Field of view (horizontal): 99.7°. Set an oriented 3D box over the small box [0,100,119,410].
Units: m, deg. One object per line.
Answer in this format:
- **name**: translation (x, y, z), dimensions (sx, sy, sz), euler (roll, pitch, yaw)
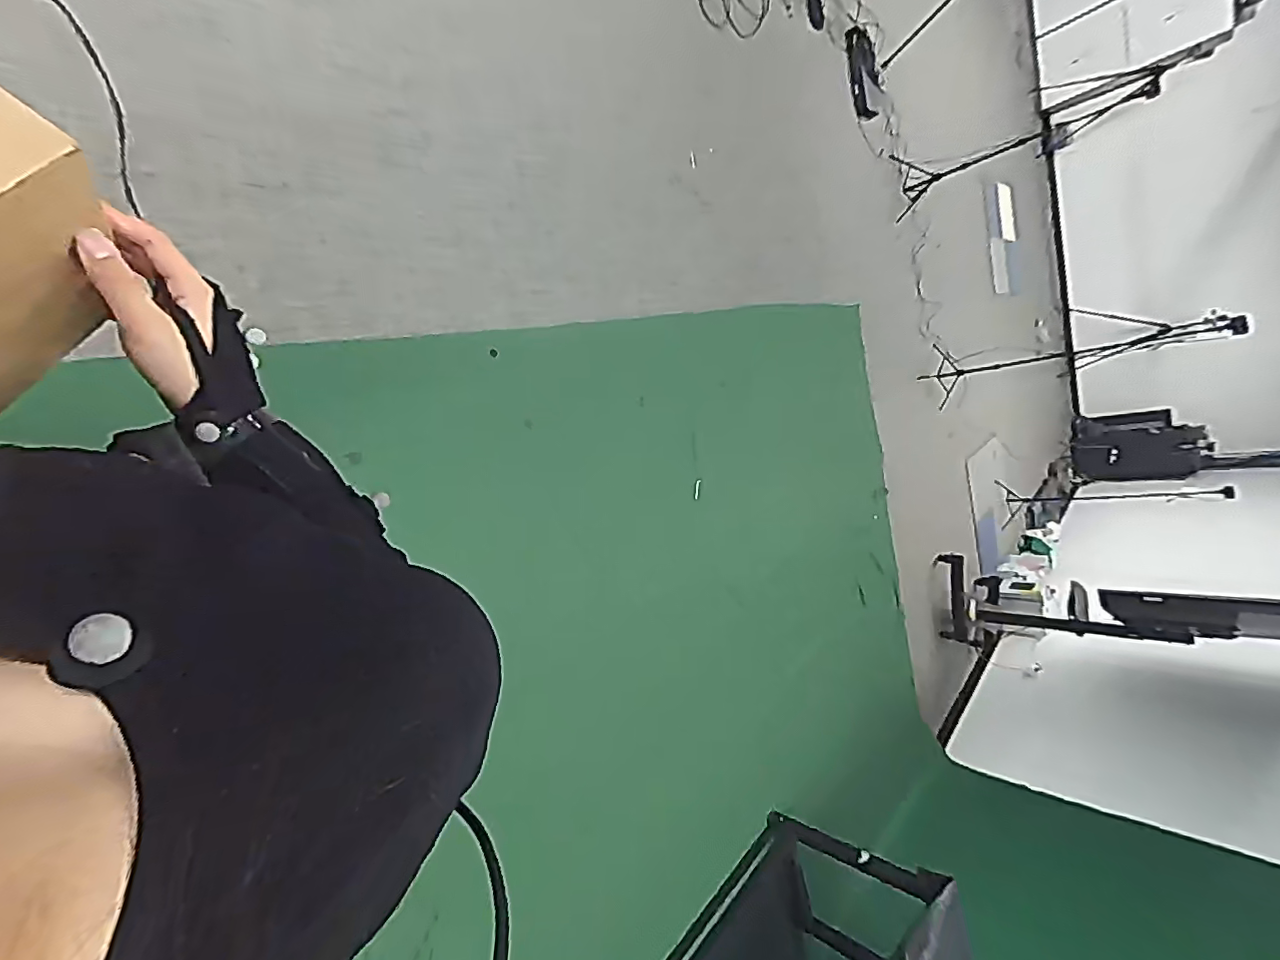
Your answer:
- **small box**: translation (-0.407, -0.119, 0.255), dimensions (0.168, 0.176, 0.179), euler (37, 63, -25)
